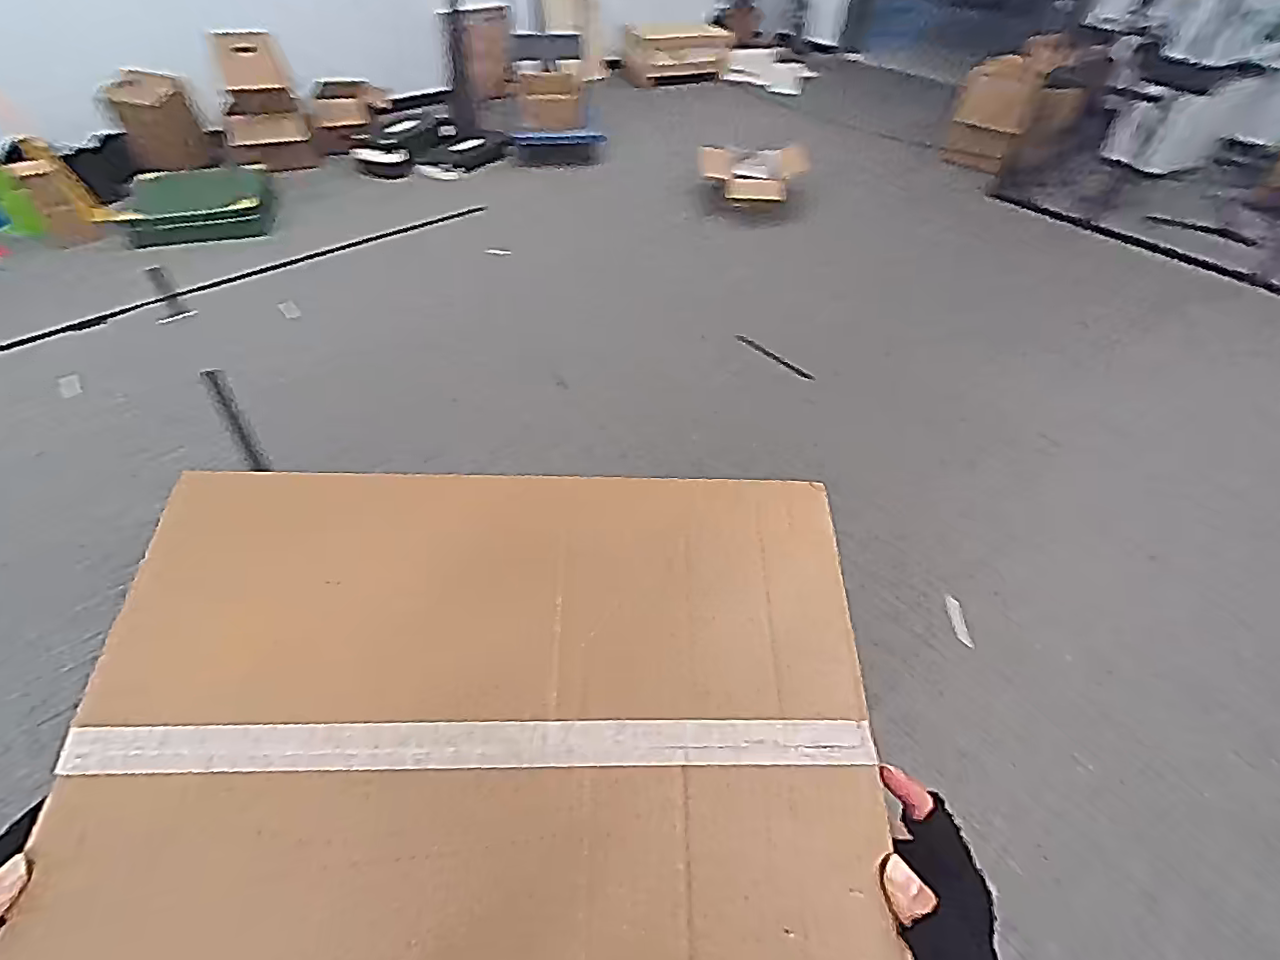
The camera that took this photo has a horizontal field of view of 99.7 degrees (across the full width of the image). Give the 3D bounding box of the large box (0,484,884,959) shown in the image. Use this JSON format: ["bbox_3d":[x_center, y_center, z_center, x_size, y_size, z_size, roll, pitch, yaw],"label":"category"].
[{"bbox_3d":[-0.095,0.210,0.419,0.408,0.320,0.320,0,63,-3],"label":"large box"}]
